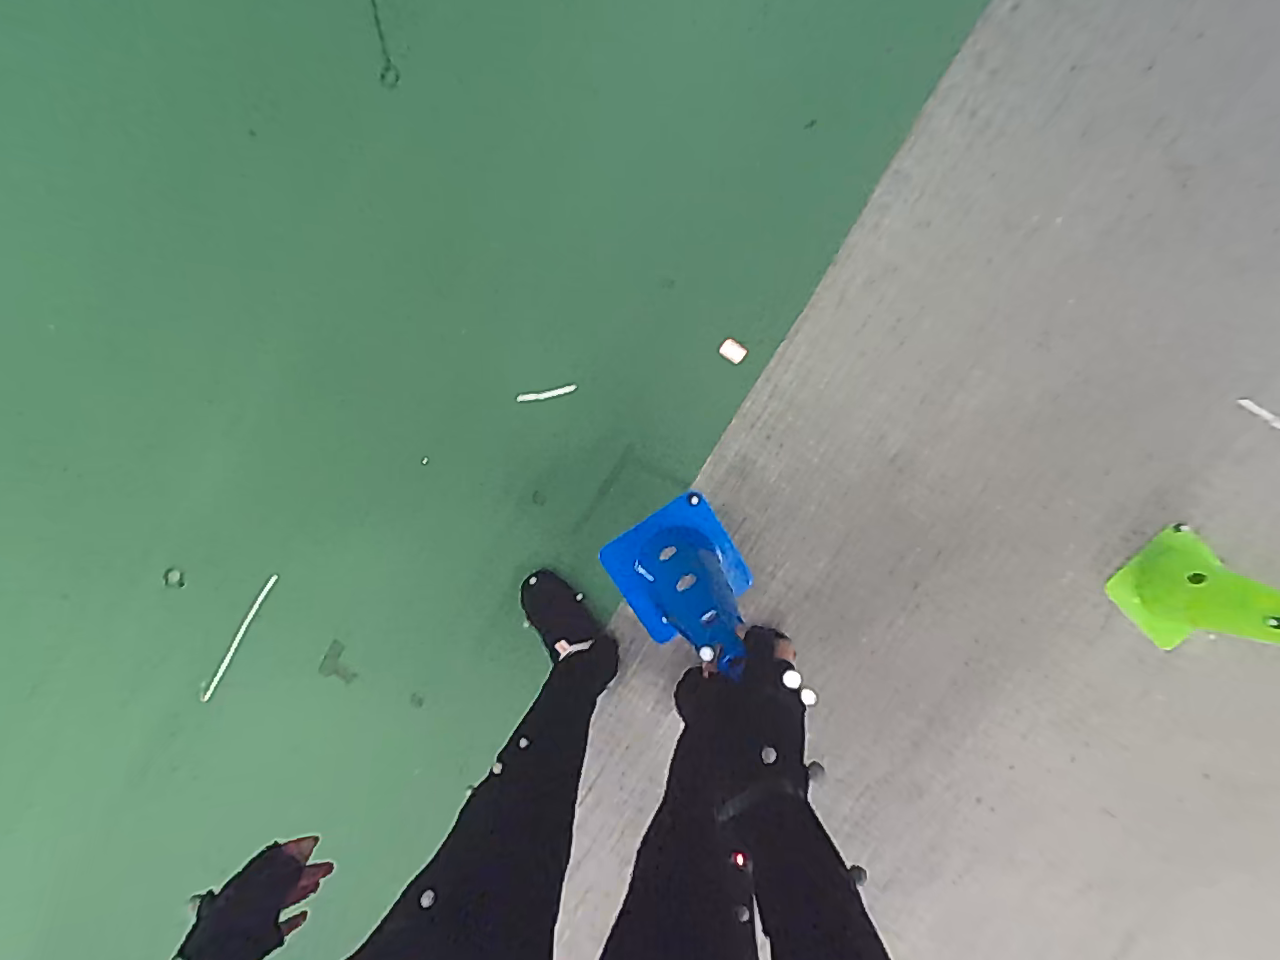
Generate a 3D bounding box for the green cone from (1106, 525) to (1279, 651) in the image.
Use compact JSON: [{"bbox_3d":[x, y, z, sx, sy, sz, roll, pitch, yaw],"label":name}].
[{"bbox_3d":[1.064,0.233,0.917,0.202,0.368,0.200,43,94,-3],"label":"green cone"}]
